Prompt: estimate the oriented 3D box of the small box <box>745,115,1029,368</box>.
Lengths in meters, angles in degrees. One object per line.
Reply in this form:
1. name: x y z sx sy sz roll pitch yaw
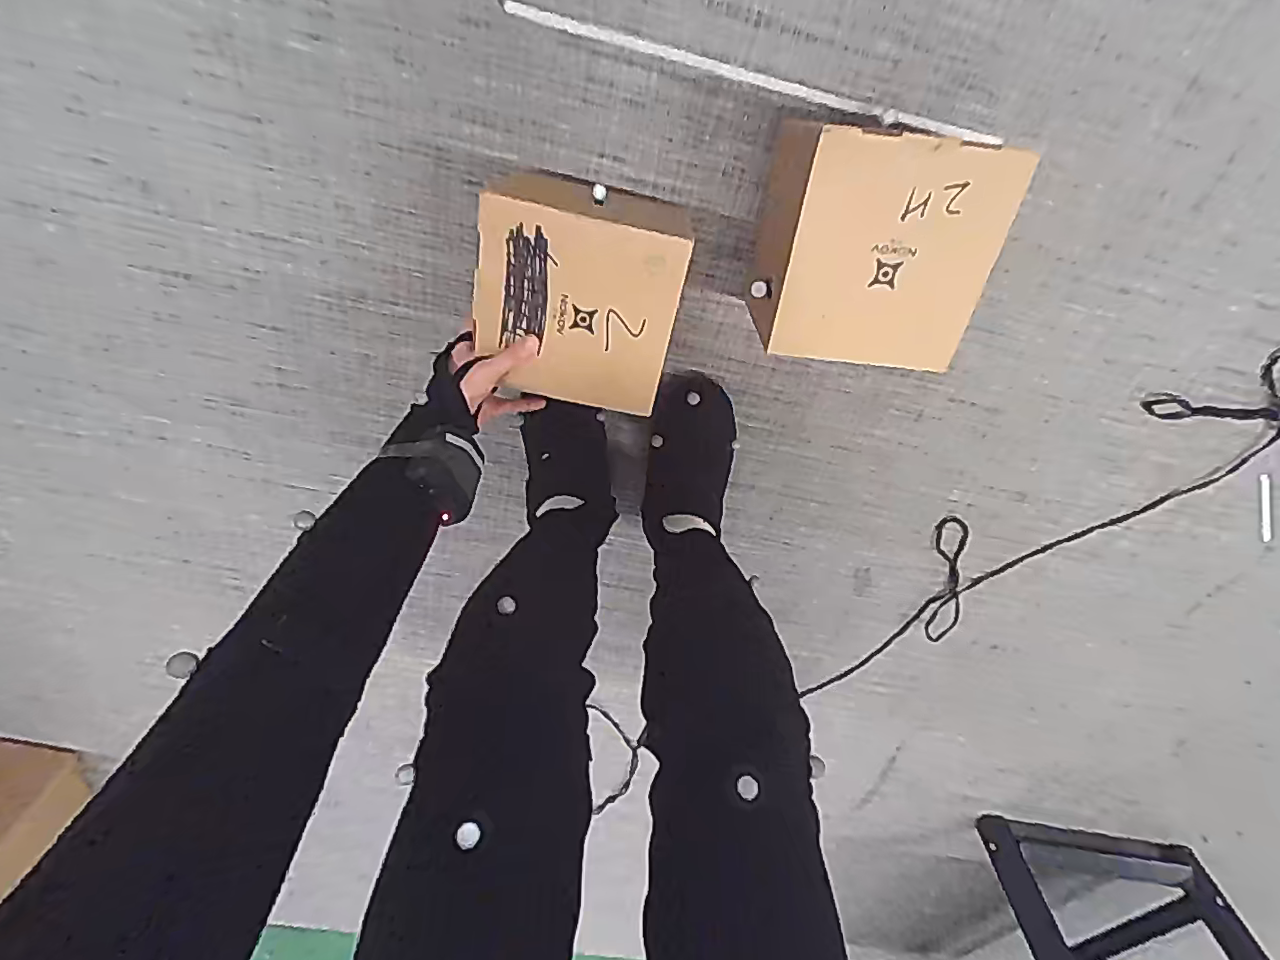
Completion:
1. small box: 0.200 -0.226 0.504 0.168 0.176 0.179 6 124 -2
